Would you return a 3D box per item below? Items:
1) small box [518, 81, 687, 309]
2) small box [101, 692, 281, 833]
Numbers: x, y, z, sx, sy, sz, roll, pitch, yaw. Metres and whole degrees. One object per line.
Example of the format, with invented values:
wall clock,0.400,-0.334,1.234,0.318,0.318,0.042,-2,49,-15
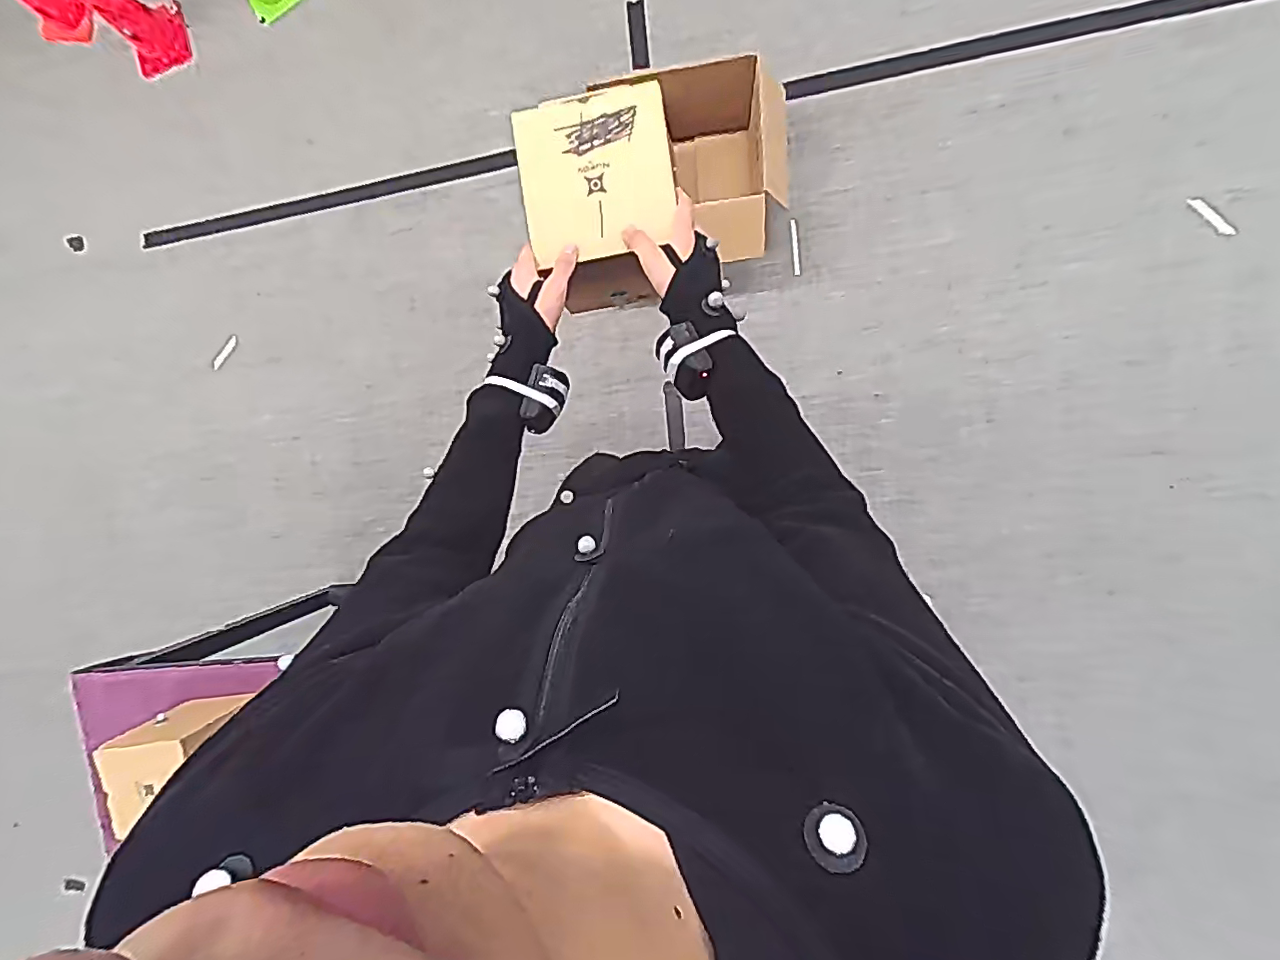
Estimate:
small box,-0.036,-0.331,0.663,0.168,0.176,0.179,-9,90,6
small box,-0.811,0.510,0.992,0.179,0.176,0.168,-10,94,10
